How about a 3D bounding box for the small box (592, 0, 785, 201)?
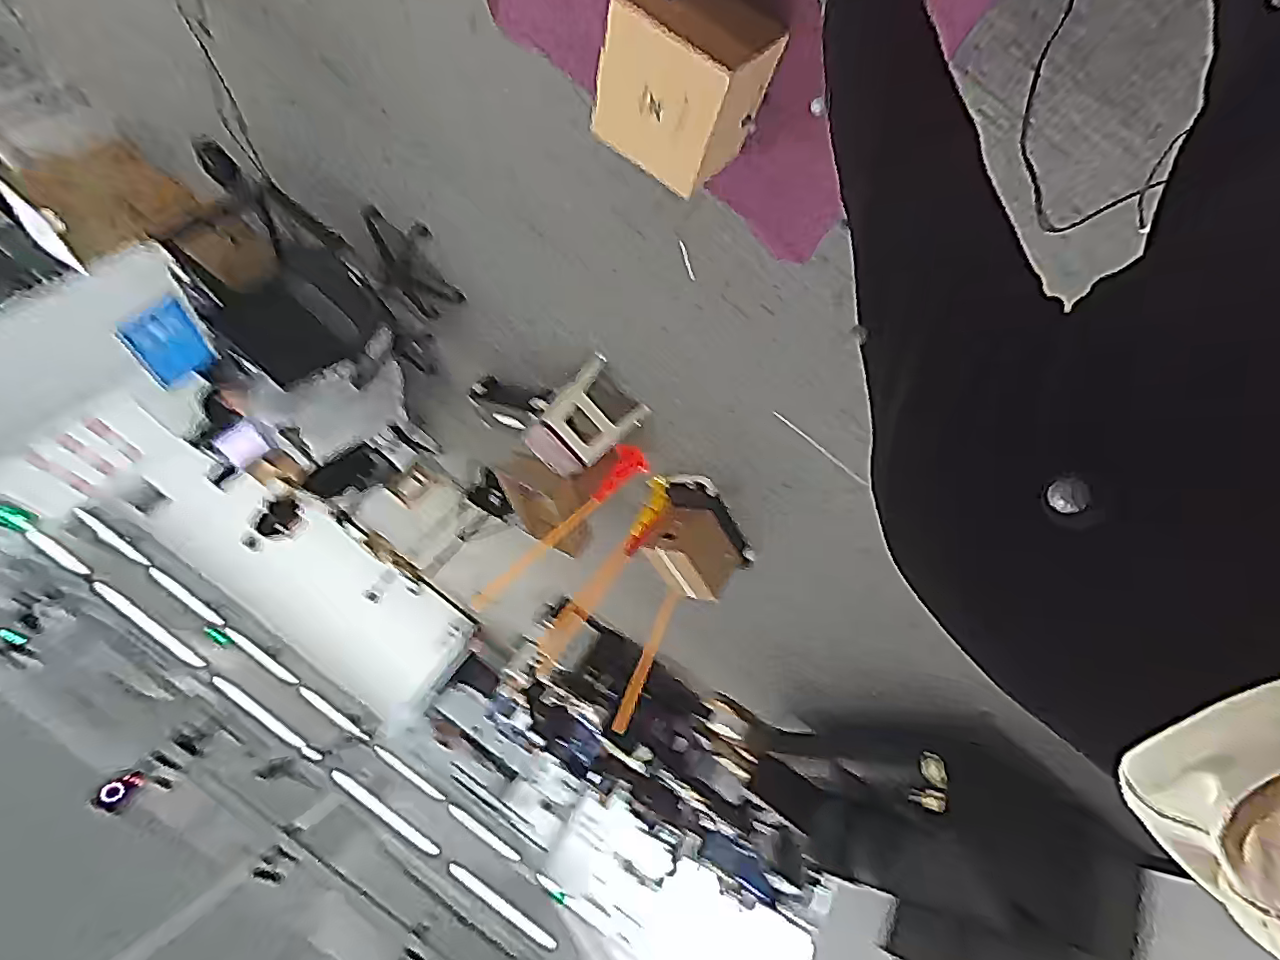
[{"bbox_3d":[0.063,-0.533,0.740,0.179,0.176,0.168,36,152,3],"label":"small box"}]
